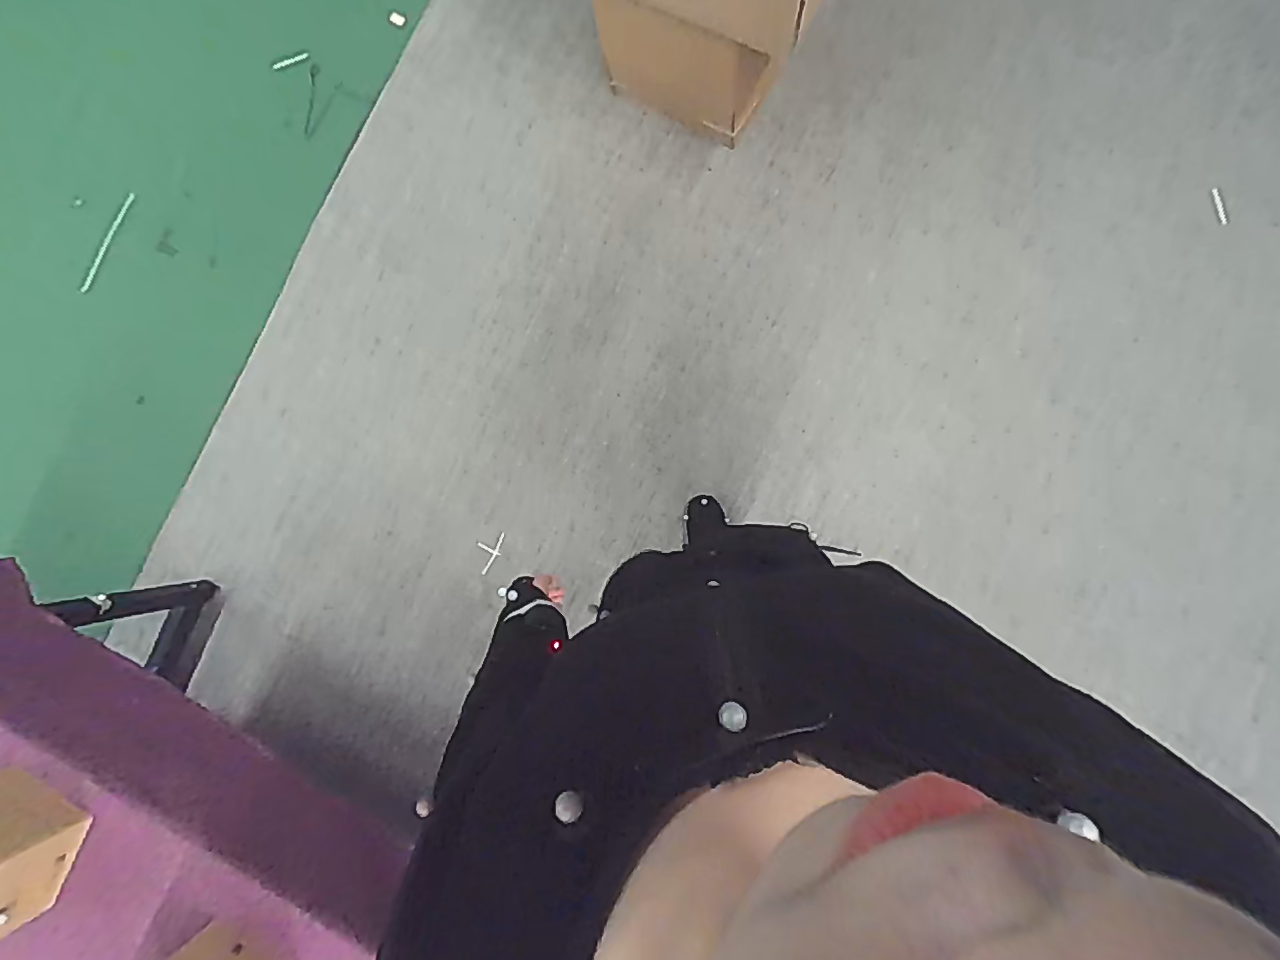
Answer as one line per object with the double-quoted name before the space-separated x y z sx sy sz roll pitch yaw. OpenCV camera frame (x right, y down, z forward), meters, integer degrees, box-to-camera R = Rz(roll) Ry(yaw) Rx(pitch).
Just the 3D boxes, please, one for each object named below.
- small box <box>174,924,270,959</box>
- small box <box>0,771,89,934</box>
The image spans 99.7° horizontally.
"small box" -0.629 0.784 0.748 0.168 0.176 0.179 27 91 8
"small box" -0.998 0.575 0.804 0.179 0.176 0.168 26 91 8
